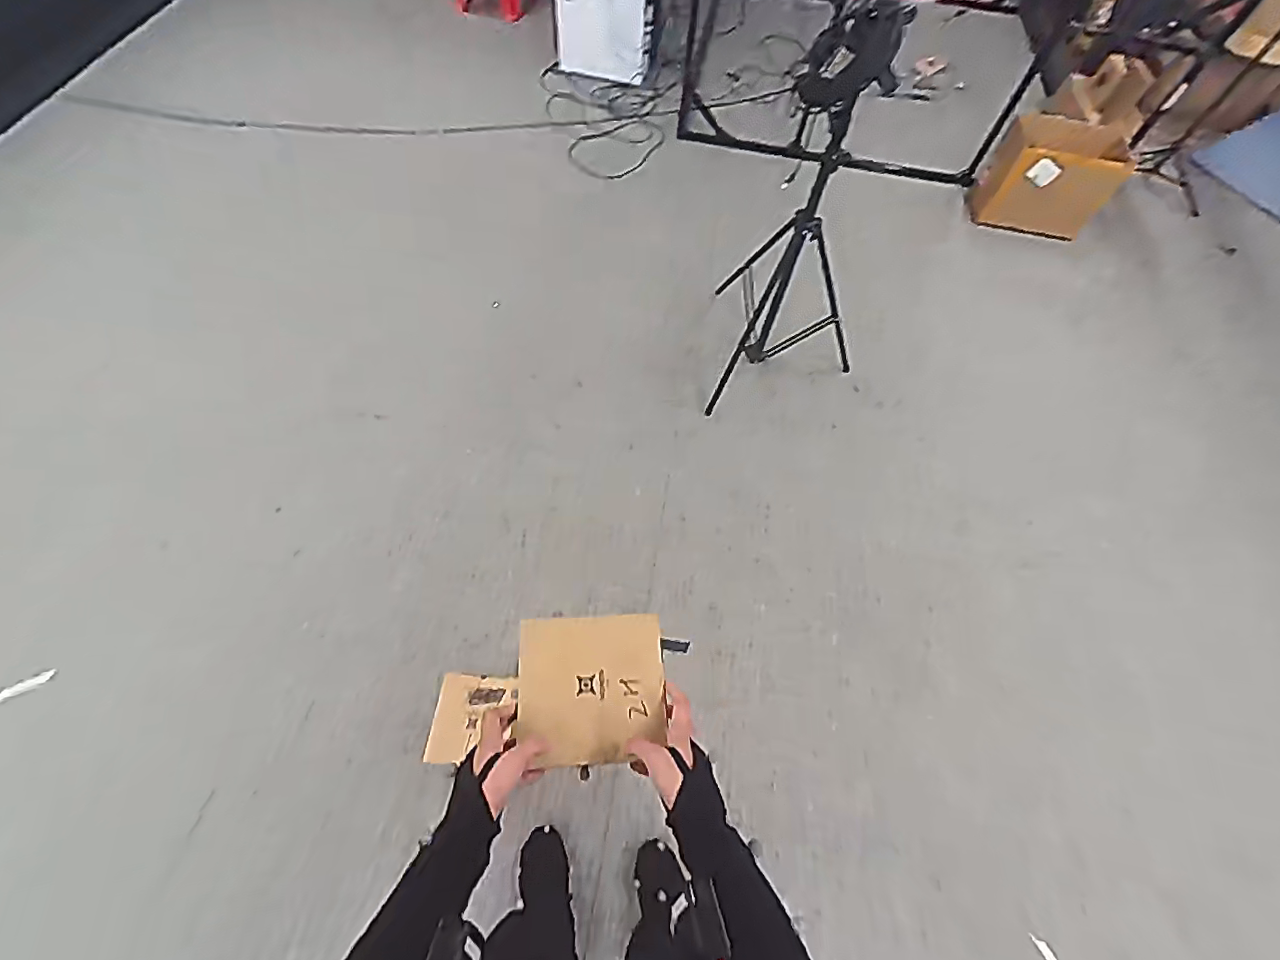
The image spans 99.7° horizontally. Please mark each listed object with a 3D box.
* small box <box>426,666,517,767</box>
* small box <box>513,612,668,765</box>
[{"bbox_3d":[-0.343,0.523,1.189,0.168,0.176,0.179,7,63,1],"label":"small box"},{"bbox_3d":[-0.067,0.276,0.706,0.179,0.176,0.168,1,63,-9],"label":"small box"}]
